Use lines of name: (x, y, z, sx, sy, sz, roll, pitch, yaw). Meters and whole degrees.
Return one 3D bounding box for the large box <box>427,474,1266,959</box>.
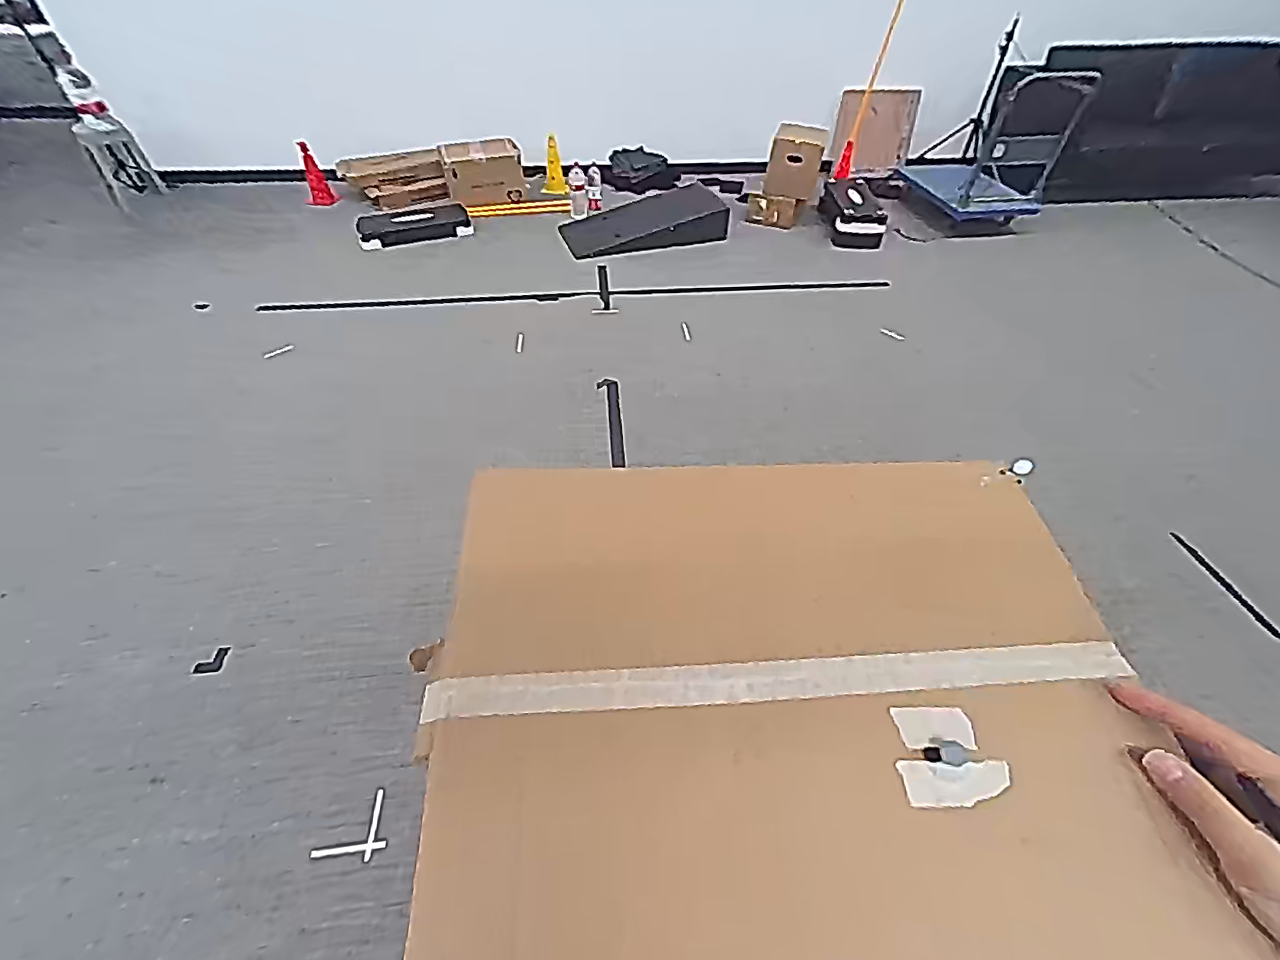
large box: (0.080, 0.213, 0.440, 0.408, 0.320, 0.320, -1, 54, -6)
